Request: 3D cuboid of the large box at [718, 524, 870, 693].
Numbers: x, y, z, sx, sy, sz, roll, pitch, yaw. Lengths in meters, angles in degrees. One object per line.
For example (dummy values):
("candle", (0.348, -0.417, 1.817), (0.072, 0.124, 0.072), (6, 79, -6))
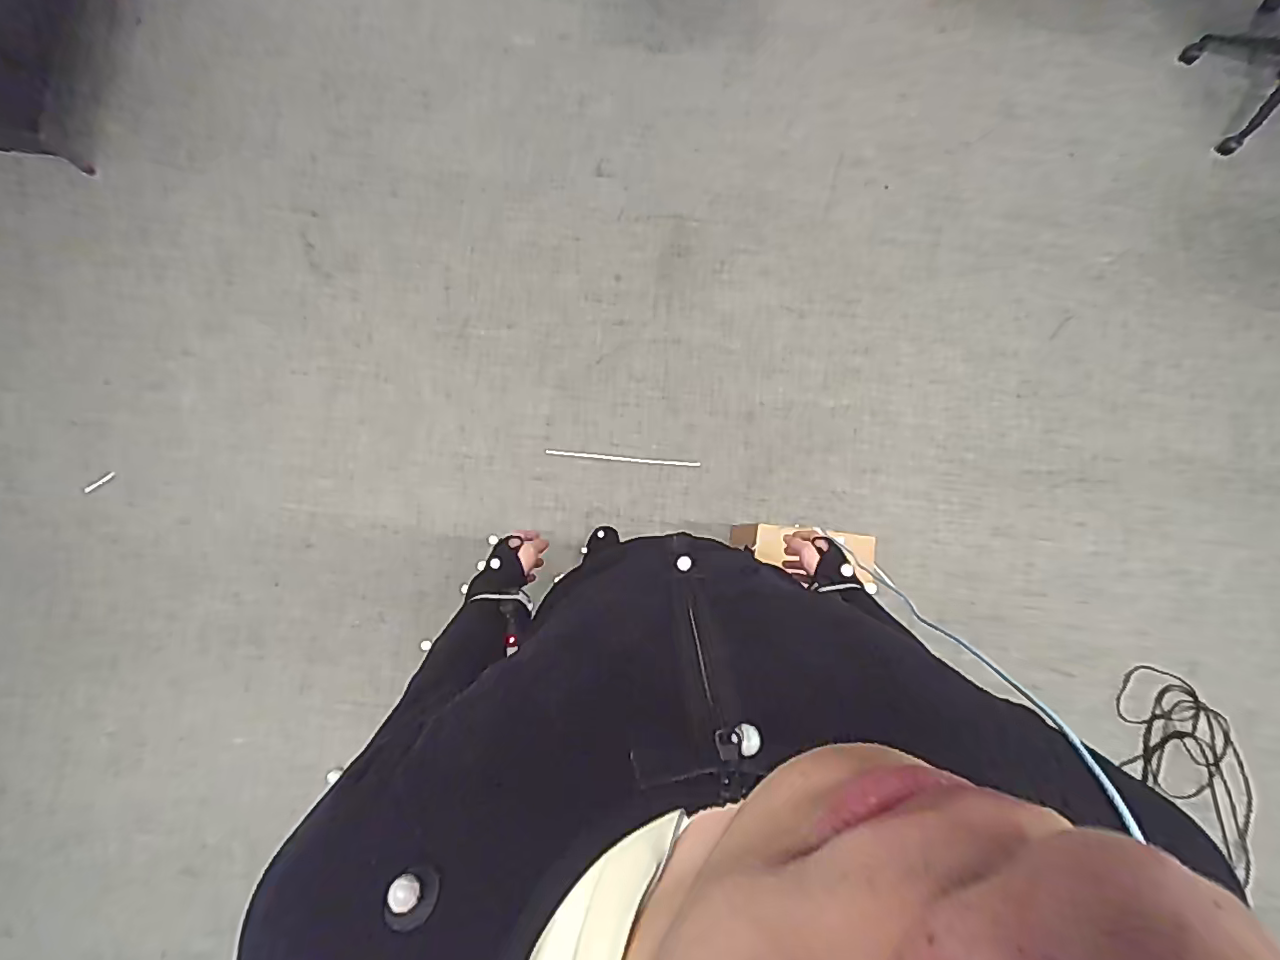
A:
("large box", (0.413, 0.336, 1.513), (0.320, 0.320, 0.408), (7, 84, -3))
